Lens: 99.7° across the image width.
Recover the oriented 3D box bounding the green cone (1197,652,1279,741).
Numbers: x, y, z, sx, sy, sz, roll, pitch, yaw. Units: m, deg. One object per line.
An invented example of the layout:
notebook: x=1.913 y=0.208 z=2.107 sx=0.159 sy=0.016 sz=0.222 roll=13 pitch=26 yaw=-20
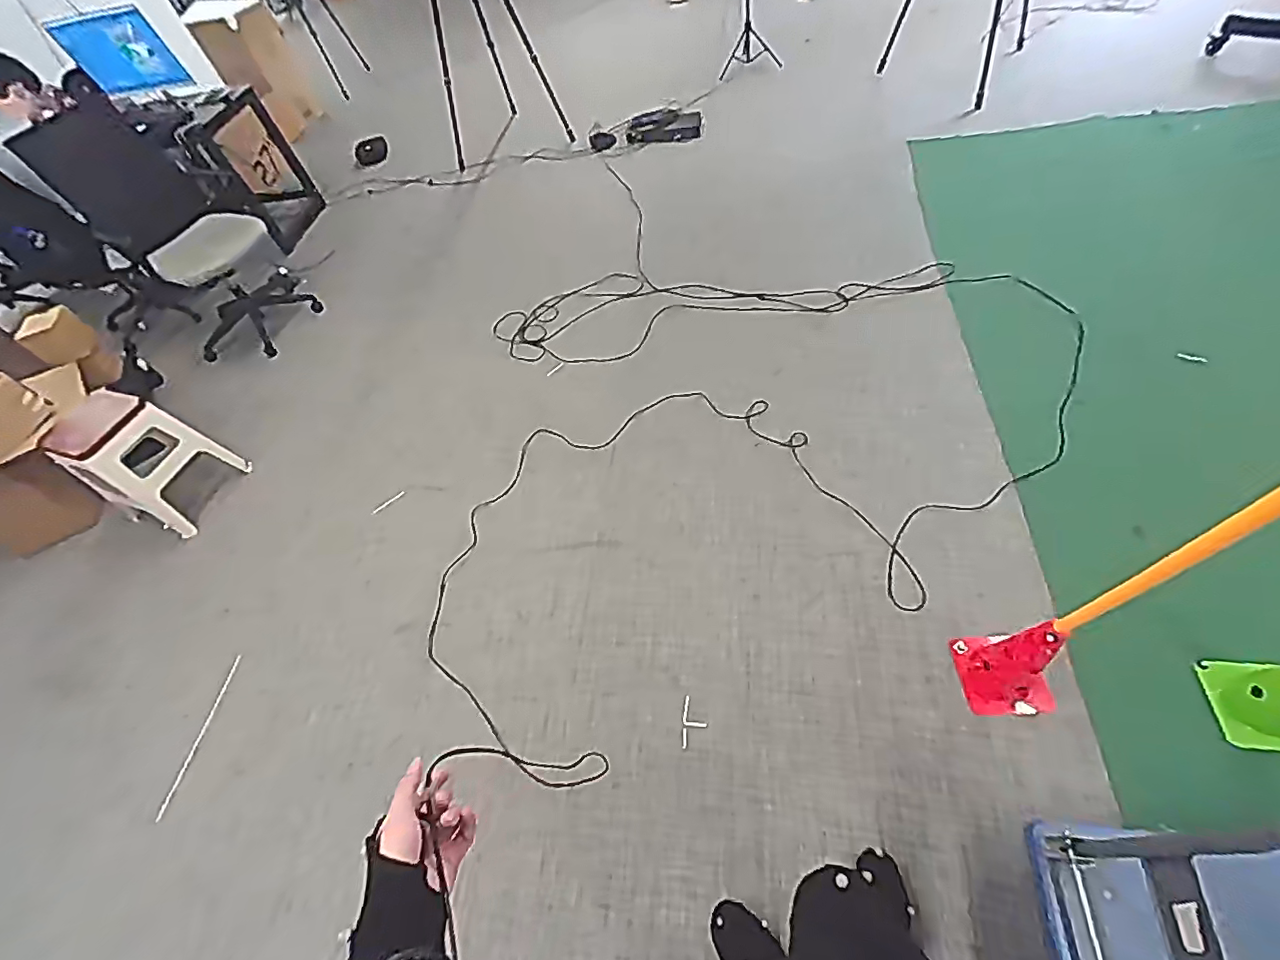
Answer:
green cone: x=1.434 y=0.409 z=1.132 sx=0.202 sy=0.368 sz=0.200 roll=0 pitch=55 yaw=11
